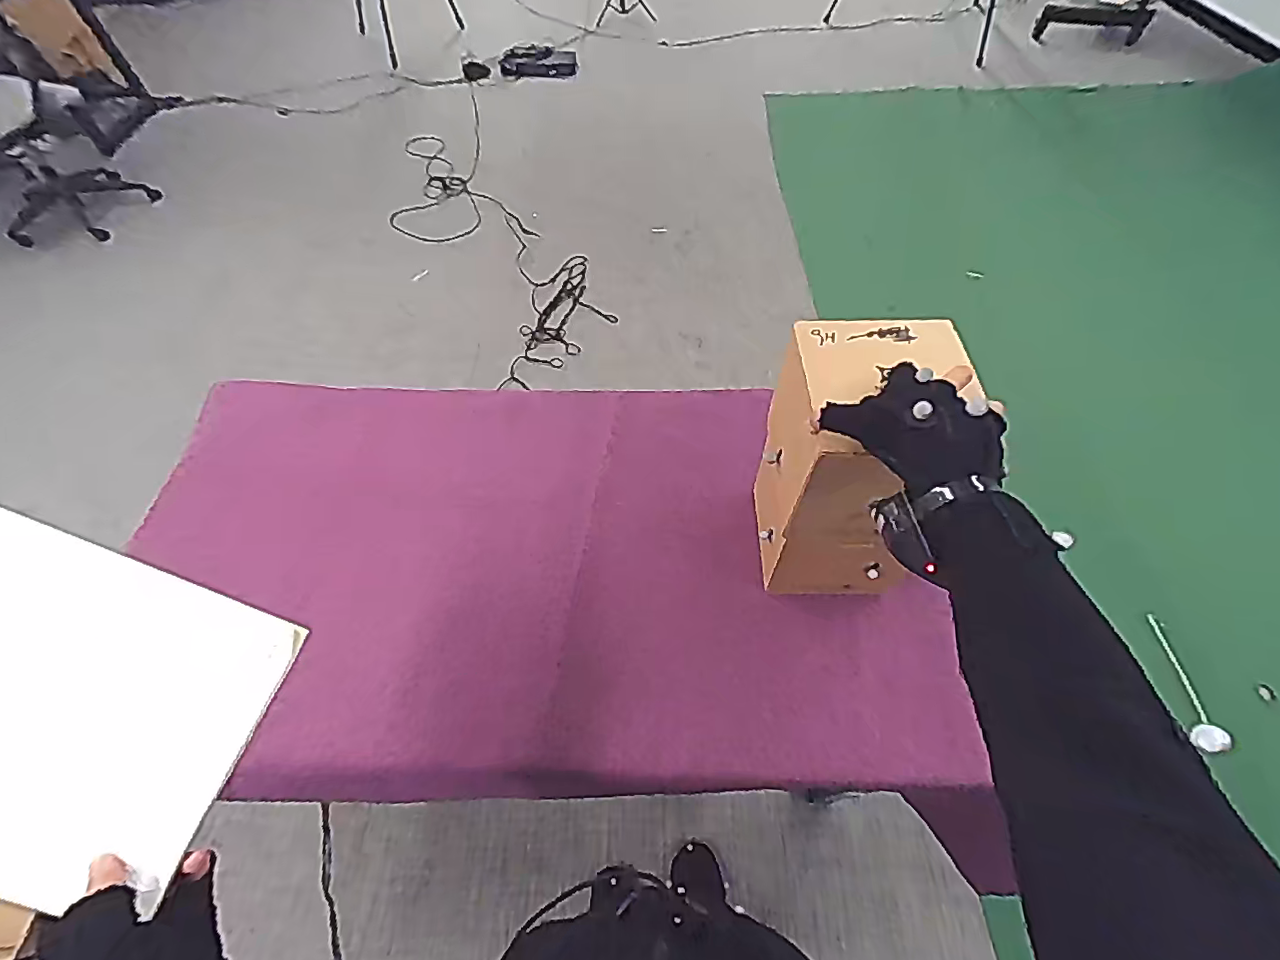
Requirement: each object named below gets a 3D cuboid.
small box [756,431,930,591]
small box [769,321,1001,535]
[{"bbox_3d":[0.254,0.039,0.726,0.168,0.176,0.179,1,56,2],"label":"small box"},{"bbox_3d":[0.243,-0.050,0.590,0.168,0.176,0.179,1,57,2],"label":"small box"}]
